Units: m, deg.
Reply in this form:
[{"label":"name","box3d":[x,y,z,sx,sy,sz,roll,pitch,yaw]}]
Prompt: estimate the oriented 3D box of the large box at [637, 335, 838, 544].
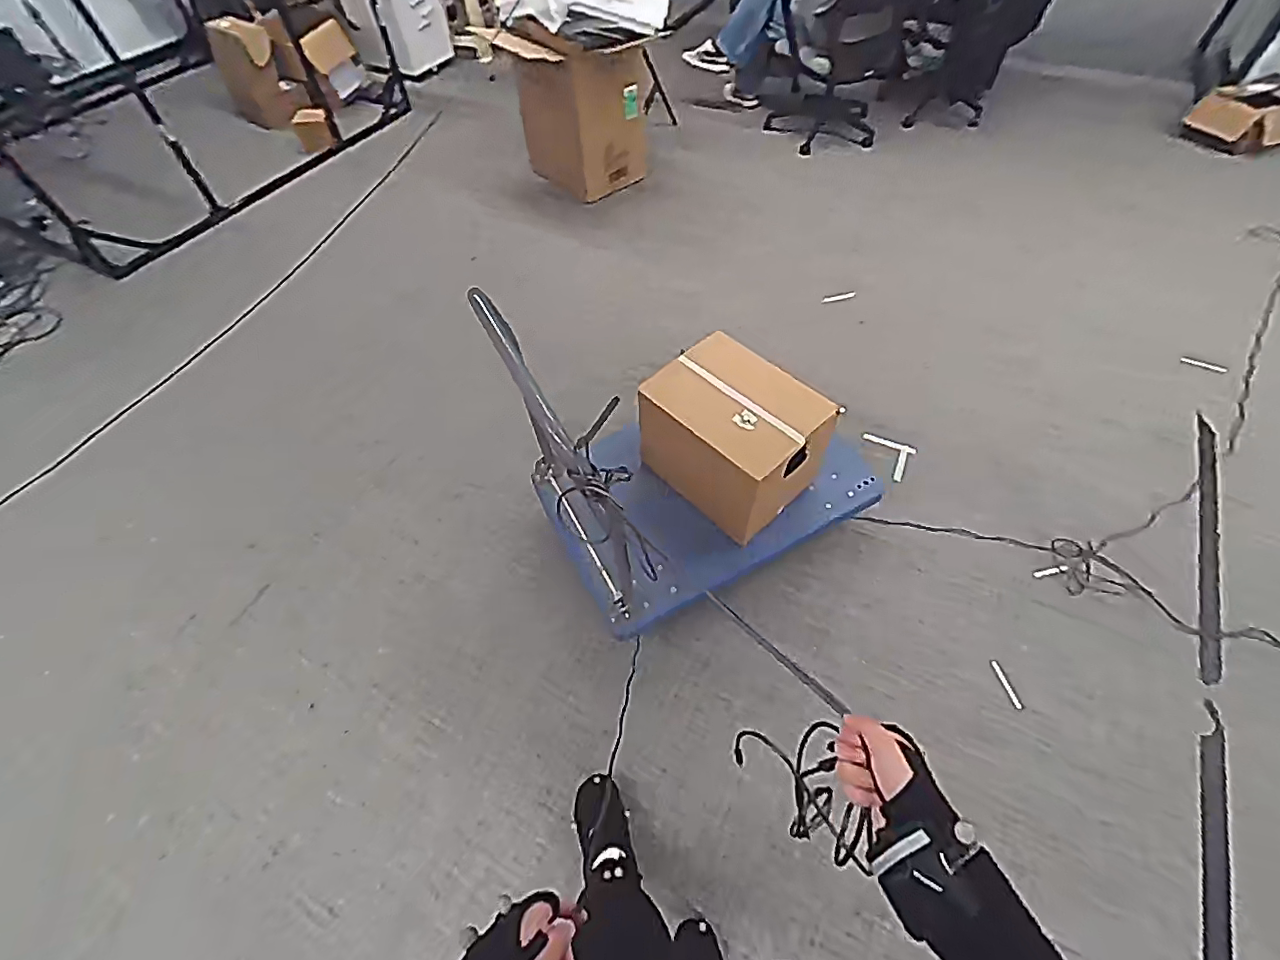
[{"label":"large box","box3d":[0.237,-0.110,1.453,0.320,0.320,0.408,-39,63,-21]}]
